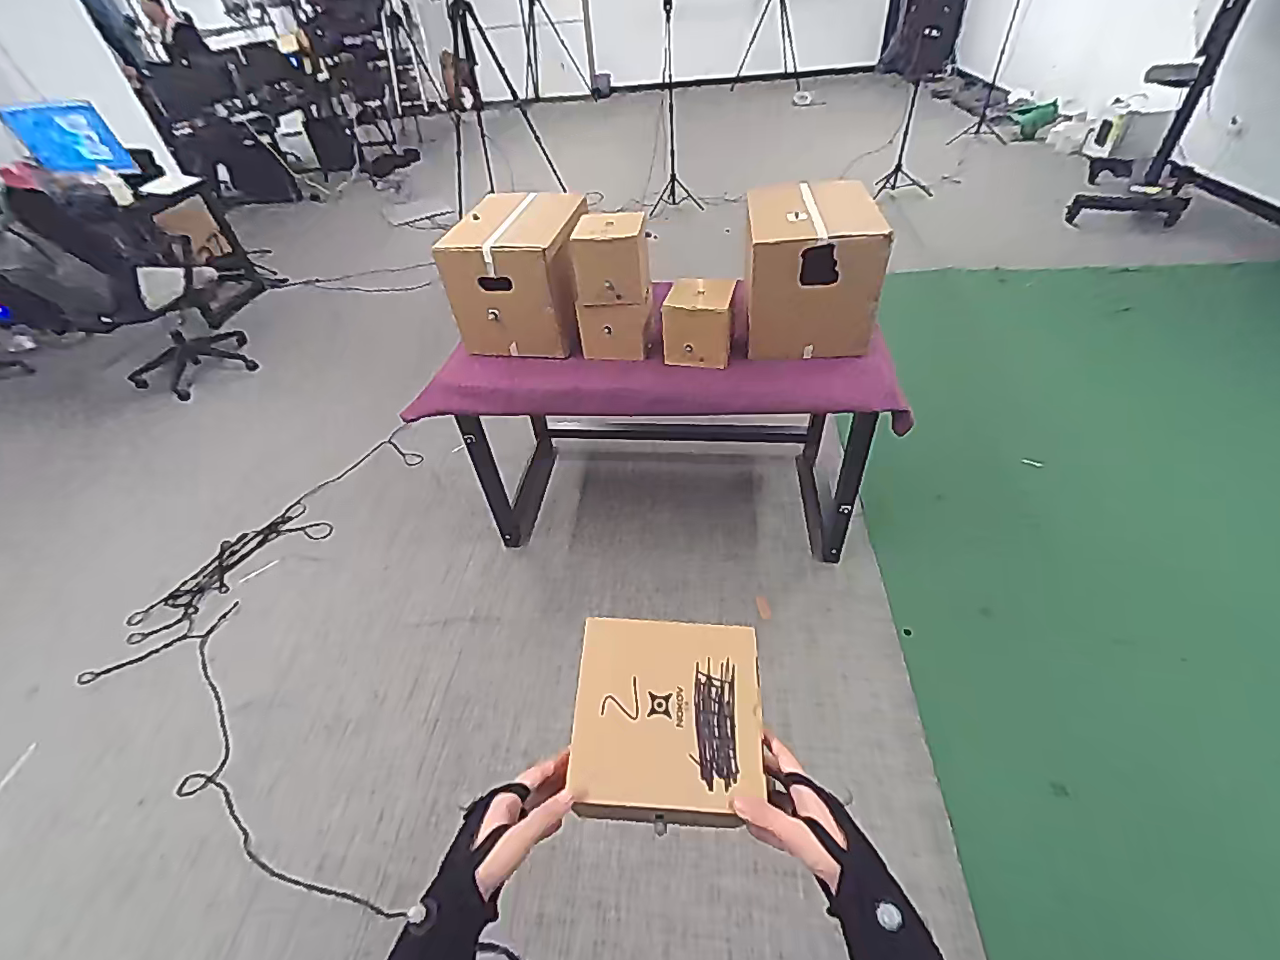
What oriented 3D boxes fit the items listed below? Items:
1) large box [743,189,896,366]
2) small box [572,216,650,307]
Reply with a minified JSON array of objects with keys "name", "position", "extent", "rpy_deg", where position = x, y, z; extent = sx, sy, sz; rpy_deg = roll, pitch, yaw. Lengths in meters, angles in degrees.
[{"name":"large box","position":[0.451,-0.552,1.464],"extent":[0.320,0.320,0.408],"rpy_deg":[-1,44,9]},{"name":"small box","position":[-0.066,-0.560,1.386],"extent":[0.168,0.176,0.179],"rpy_deg":[1,44,8]}]
